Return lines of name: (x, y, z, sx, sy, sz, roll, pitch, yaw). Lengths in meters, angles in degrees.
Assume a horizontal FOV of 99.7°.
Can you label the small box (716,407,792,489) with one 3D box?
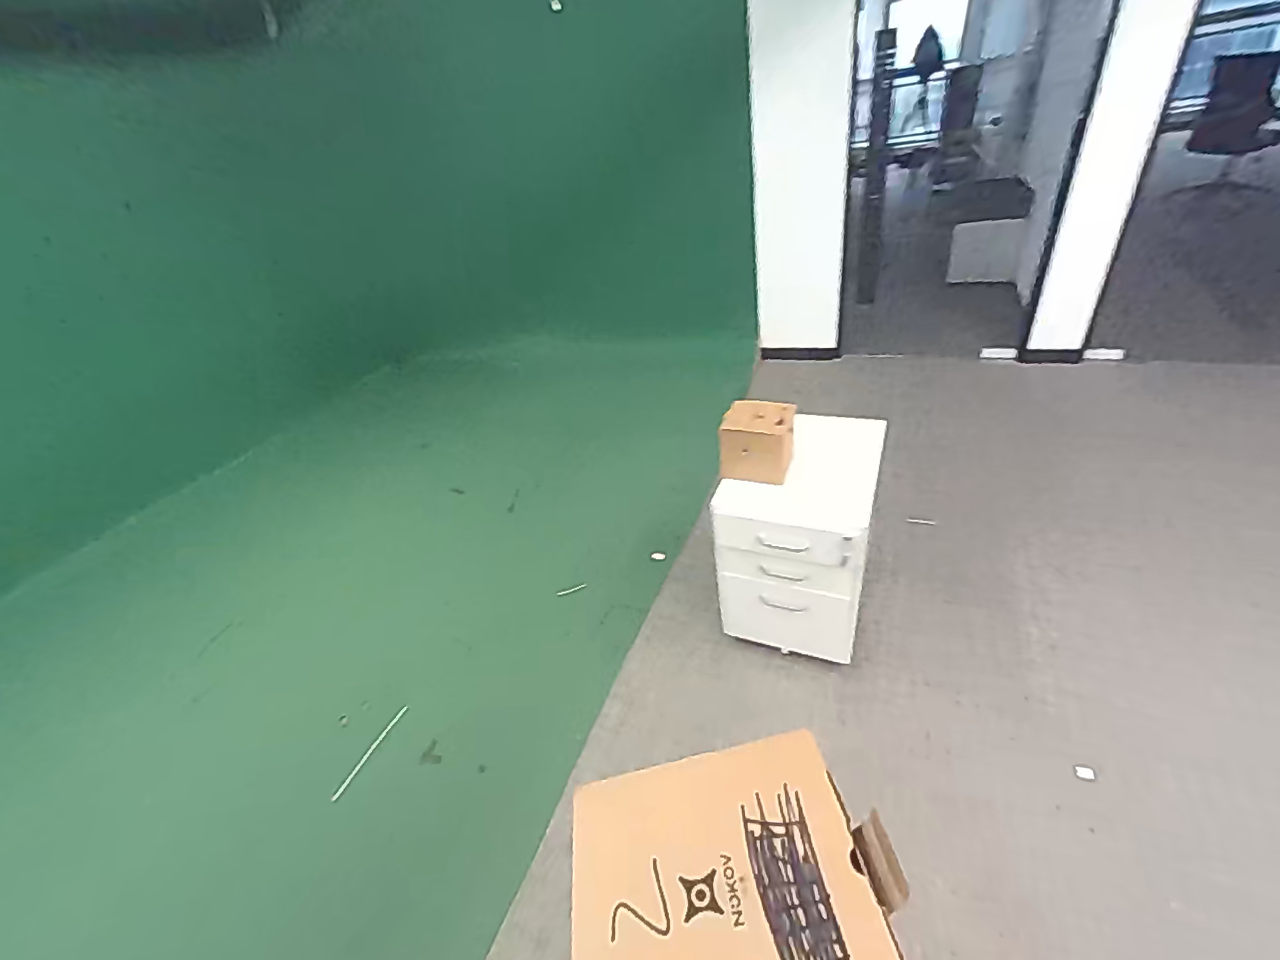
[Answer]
small box: (0.326, -0.091, 1.534, 0.179, 0.176, 0.168, 8, 39, 23)
